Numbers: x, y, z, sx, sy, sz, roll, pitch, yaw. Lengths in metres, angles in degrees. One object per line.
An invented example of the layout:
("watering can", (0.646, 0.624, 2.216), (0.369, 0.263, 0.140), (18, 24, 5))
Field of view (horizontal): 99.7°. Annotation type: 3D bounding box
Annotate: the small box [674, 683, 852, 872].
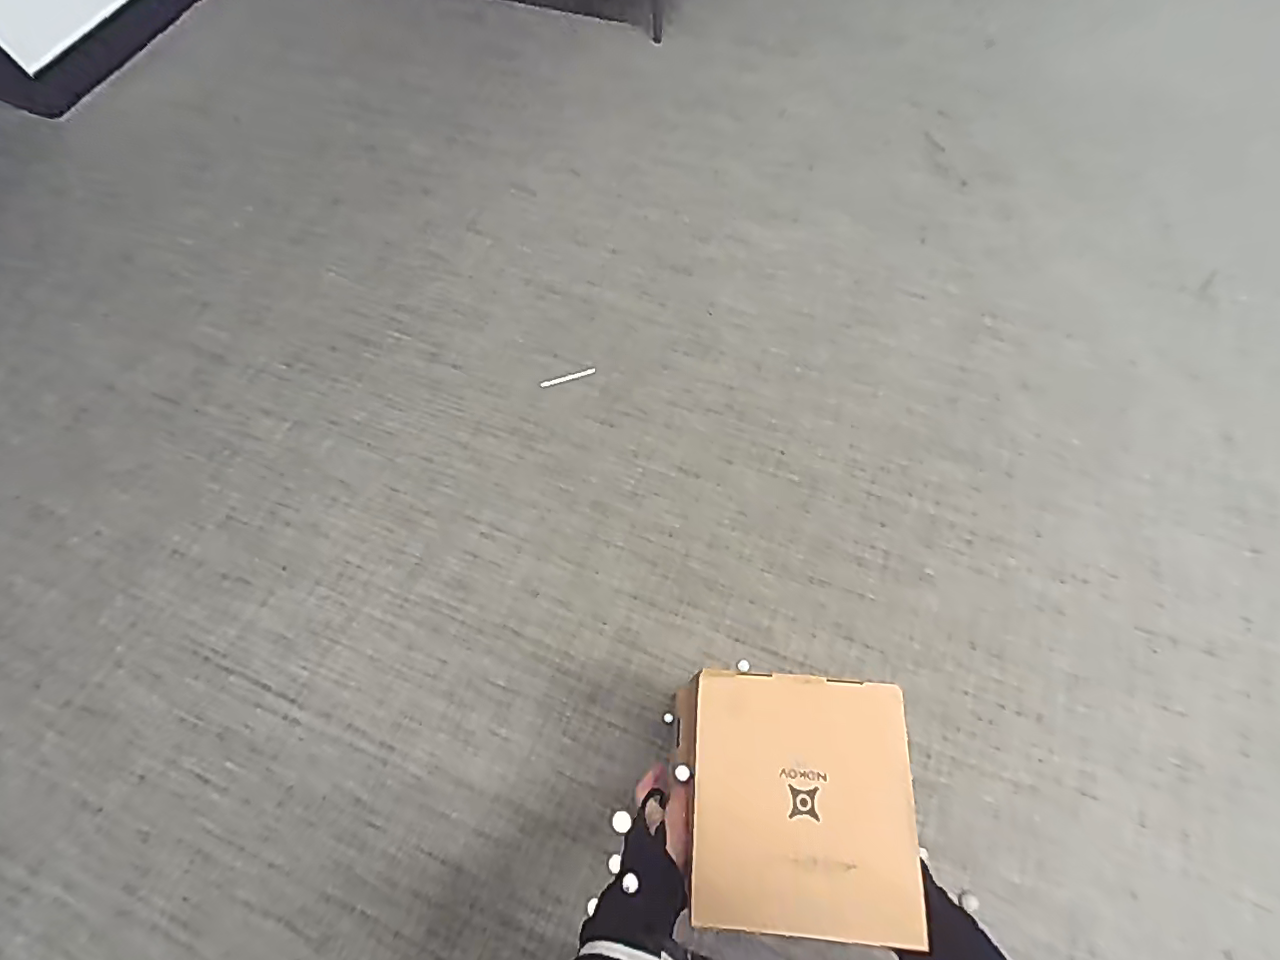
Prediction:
("small box", (0.130, 0.337, 0.637), (0.179, 0.176, 0.168), (2, 67, 3))
